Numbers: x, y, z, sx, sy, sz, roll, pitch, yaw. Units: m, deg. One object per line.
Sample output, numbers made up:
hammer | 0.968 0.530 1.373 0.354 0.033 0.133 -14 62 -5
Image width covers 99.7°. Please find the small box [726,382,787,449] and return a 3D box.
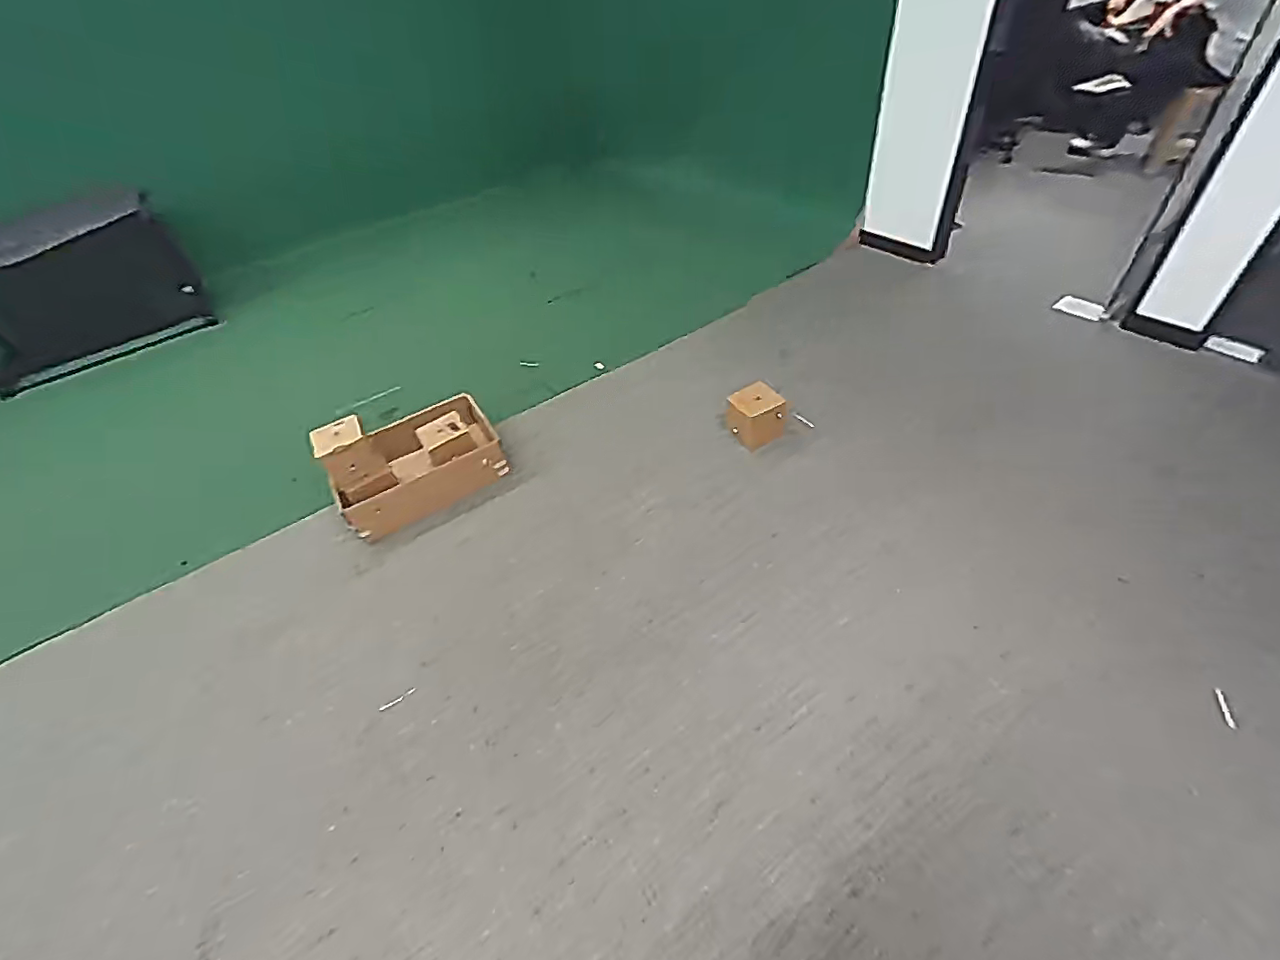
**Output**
small box | 0.455 -0.254 2.135 0.179 0.176 0.168 -26 47 -15

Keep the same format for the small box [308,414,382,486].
small box | -1.053 -0.100 1.941 0.168 0.176 0.179 -27 49 -16

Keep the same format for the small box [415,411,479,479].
small box | -0.763 -0.138 2.156 0.179 0.176 0.168 -30 49 -17
